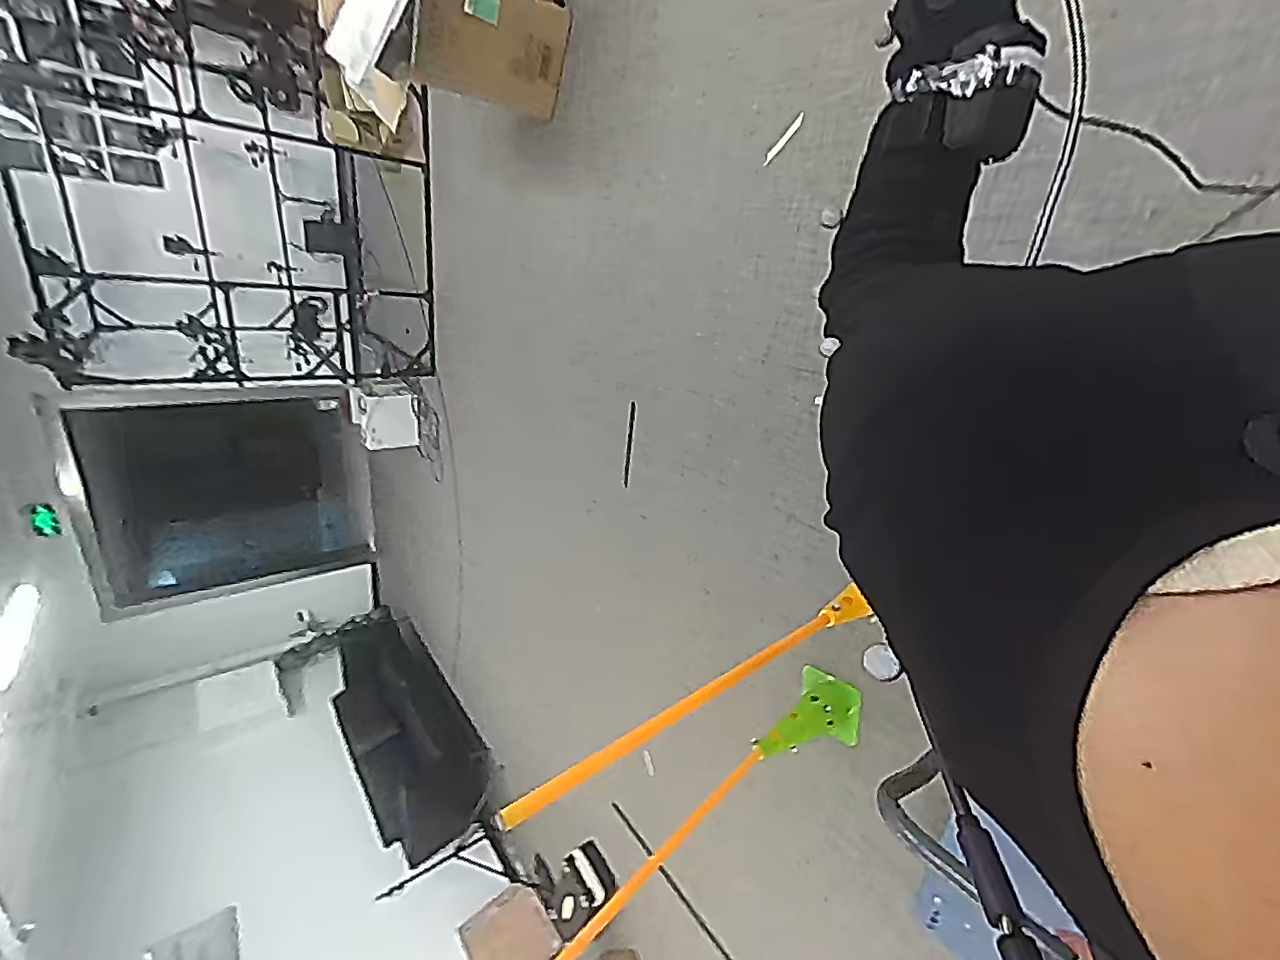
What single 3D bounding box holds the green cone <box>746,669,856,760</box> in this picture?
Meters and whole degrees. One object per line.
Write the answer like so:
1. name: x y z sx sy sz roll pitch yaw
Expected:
1. green cone: 0.451 0.740 1.599 0.200 0.368 0.202 12 107 50
